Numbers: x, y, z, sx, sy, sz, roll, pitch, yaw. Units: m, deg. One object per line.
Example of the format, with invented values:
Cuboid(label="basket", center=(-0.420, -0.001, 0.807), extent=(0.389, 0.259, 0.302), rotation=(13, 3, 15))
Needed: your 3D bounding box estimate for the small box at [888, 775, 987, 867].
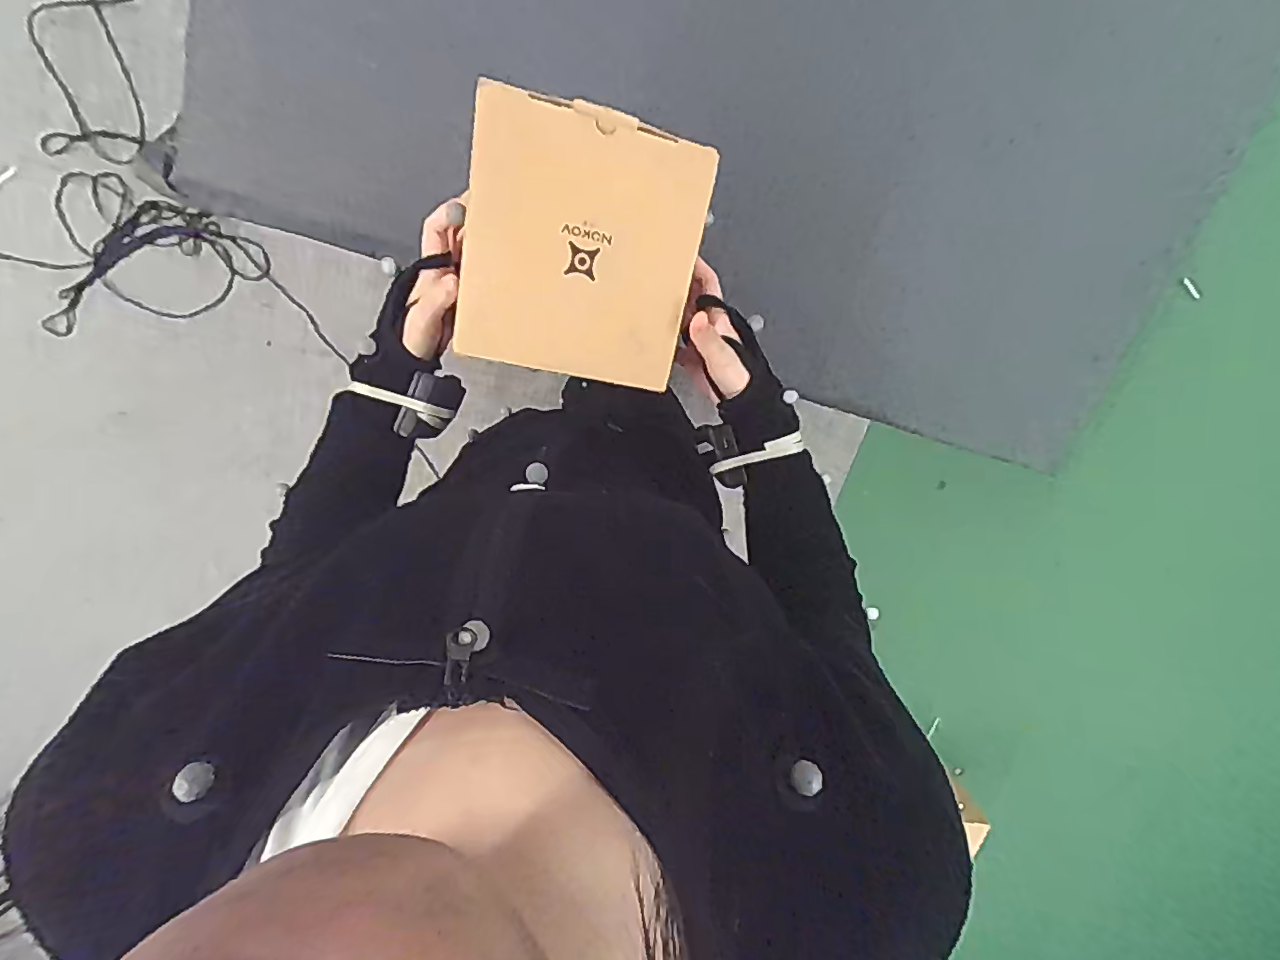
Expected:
Cuboid(label="small box", center=(0.901, 1.037, 1.654), extent=(0.179, 0.176, 0.168), rotation=(12, 107, -7))

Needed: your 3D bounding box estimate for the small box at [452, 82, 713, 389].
Cuboid(label="small box", center=(-0.056, -0.192, 0.464), extent=(0.168, 0.176, 0.179), rotation=(8, 108, -14))
